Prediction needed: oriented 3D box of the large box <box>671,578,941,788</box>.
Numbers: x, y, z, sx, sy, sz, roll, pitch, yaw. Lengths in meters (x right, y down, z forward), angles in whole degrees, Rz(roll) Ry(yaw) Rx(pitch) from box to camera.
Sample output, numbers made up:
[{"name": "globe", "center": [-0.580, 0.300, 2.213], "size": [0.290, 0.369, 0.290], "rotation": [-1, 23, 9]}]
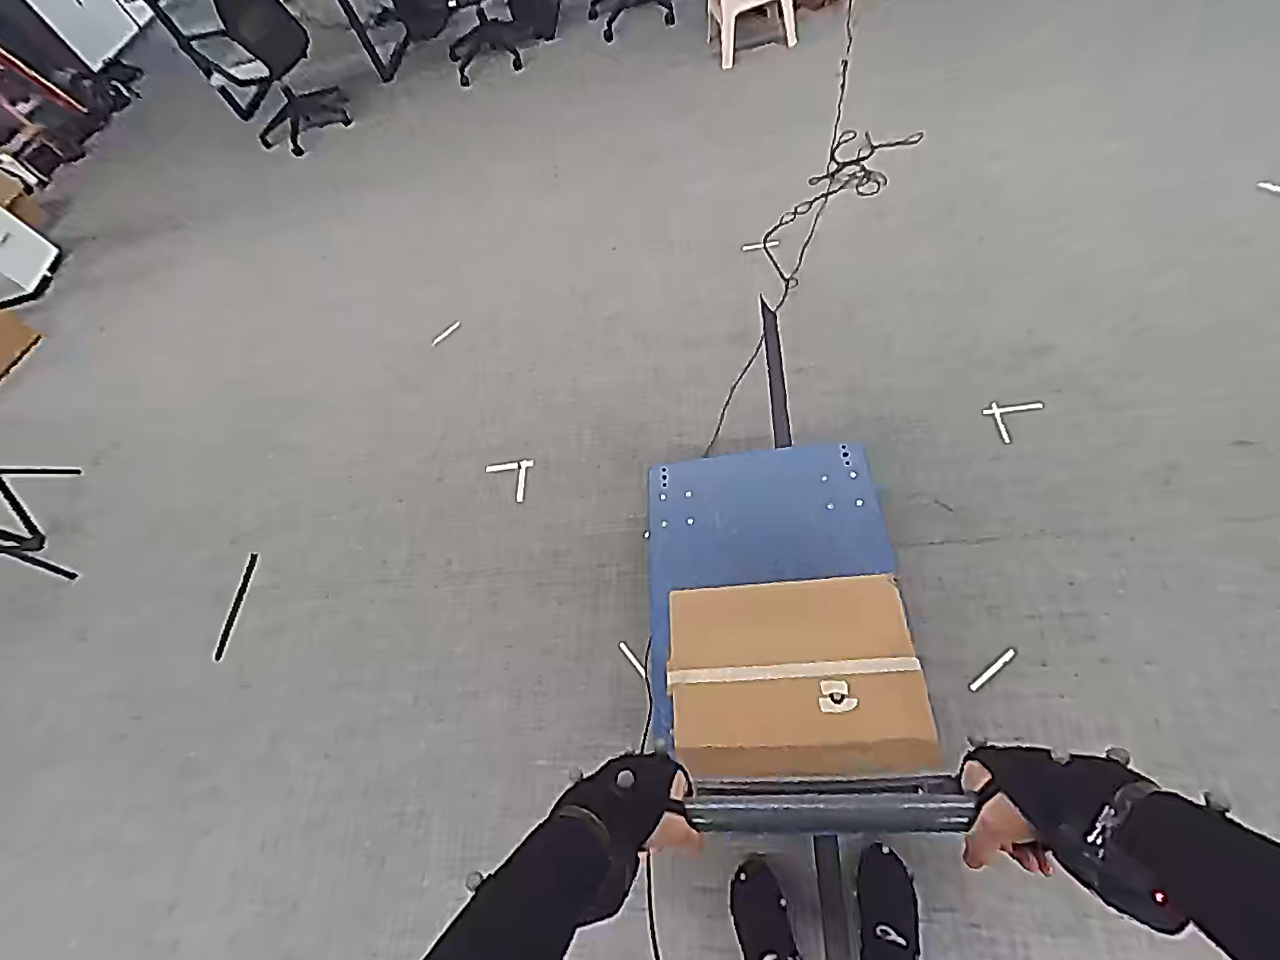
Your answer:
[{"name": "large box", "center": [0.287, 0.408, 1.047], "size": [0.408, 0.320, 0.320], "rotation": [-7, 59, 9]}]
